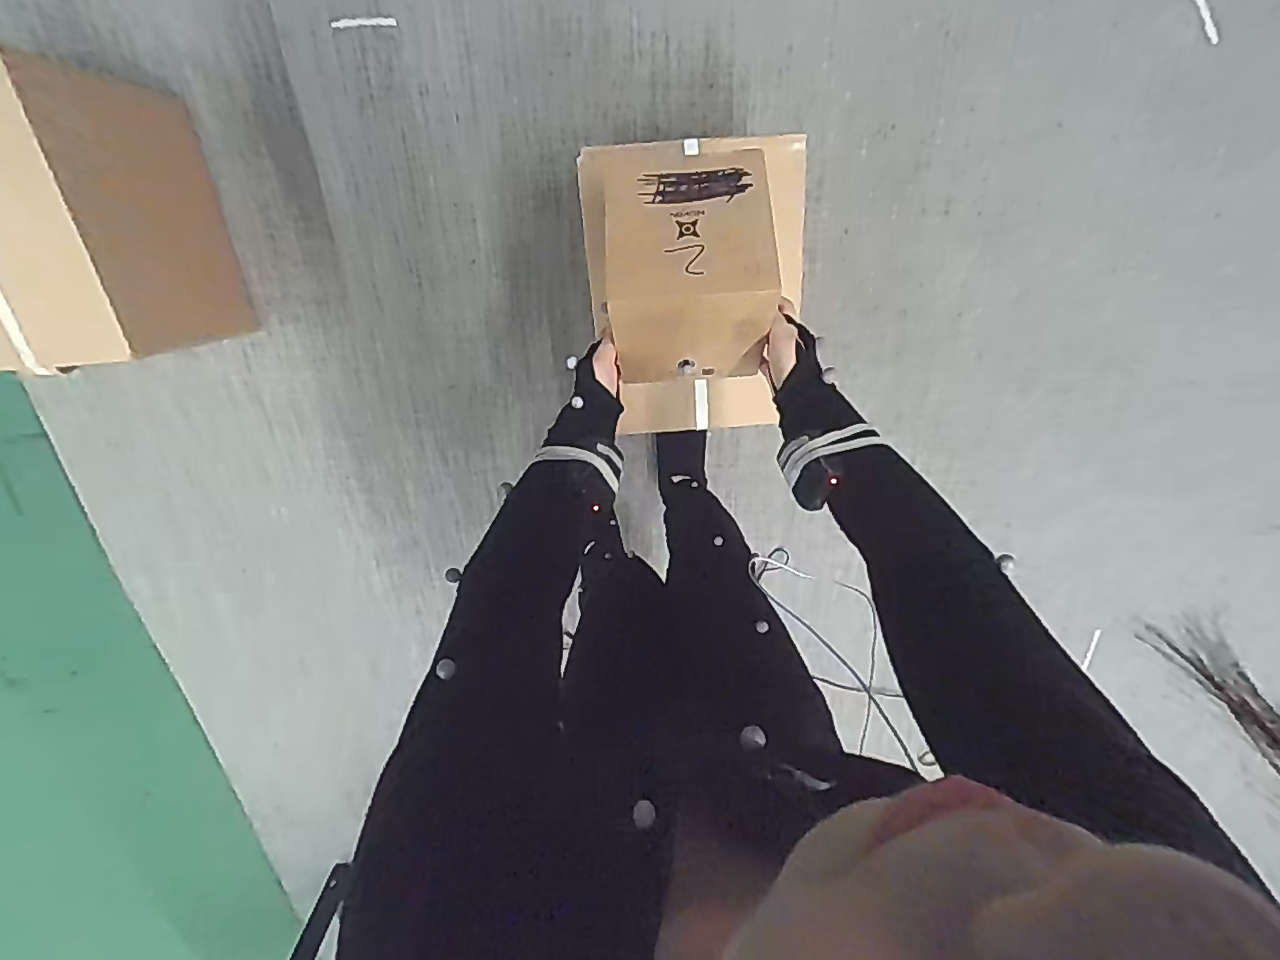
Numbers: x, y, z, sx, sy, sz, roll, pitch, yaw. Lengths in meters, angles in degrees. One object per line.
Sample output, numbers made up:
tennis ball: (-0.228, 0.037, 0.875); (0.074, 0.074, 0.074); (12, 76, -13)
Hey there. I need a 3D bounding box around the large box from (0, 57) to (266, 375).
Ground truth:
large box: (-0.942, -0.414, 0.923); (0.320, 0.320, 0.408); (-4, 112, 2)
